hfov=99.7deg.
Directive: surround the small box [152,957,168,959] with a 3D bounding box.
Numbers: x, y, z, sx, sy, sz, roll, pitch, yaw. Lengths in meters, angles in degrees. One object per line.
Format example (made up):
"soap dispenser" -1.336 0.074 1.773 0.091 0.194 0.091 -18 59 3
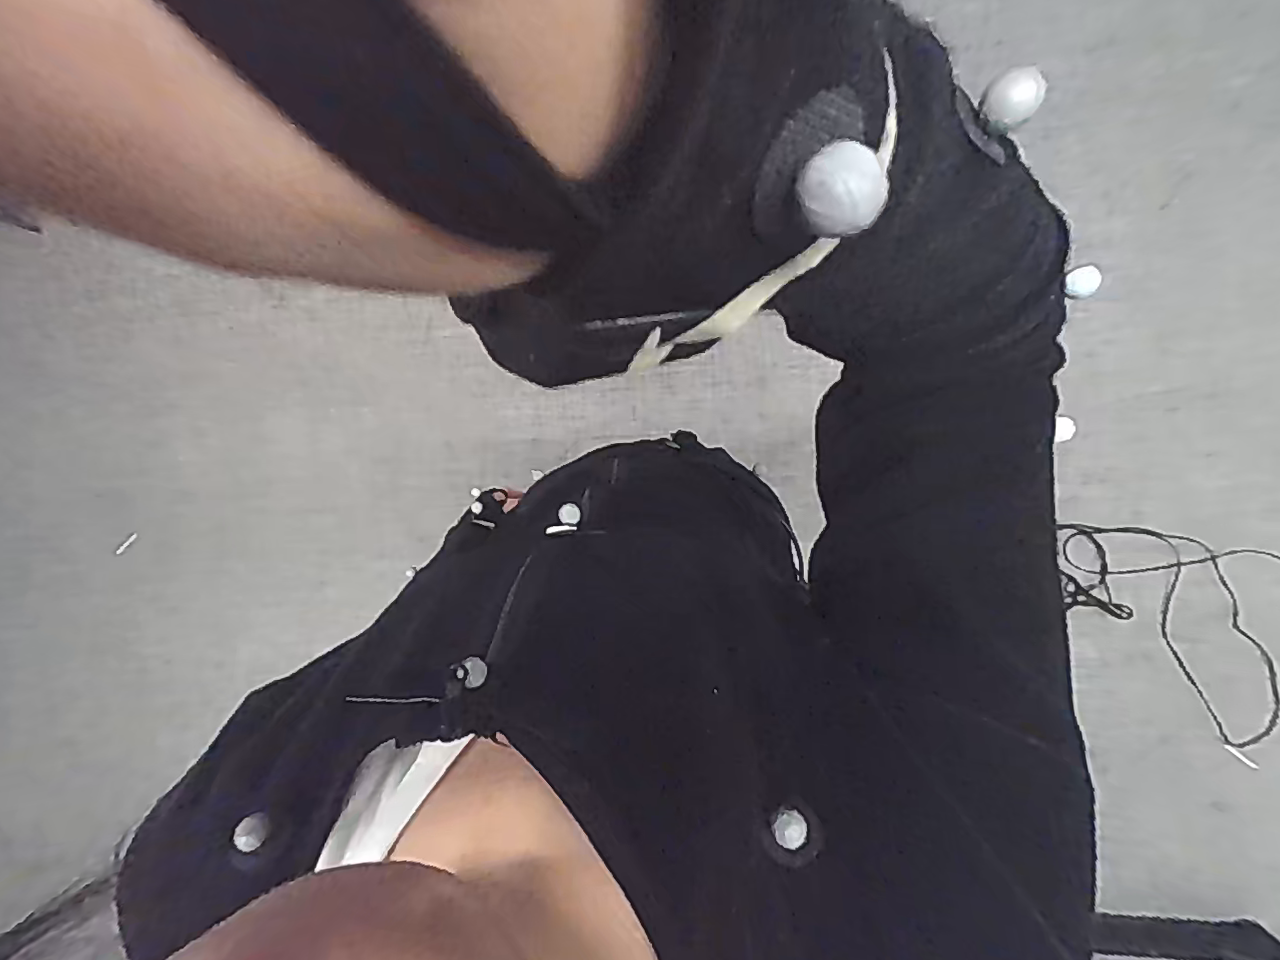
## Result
"small box" -1.500 1.623 1.655 0.168 0.176 0.179 4 93 6
